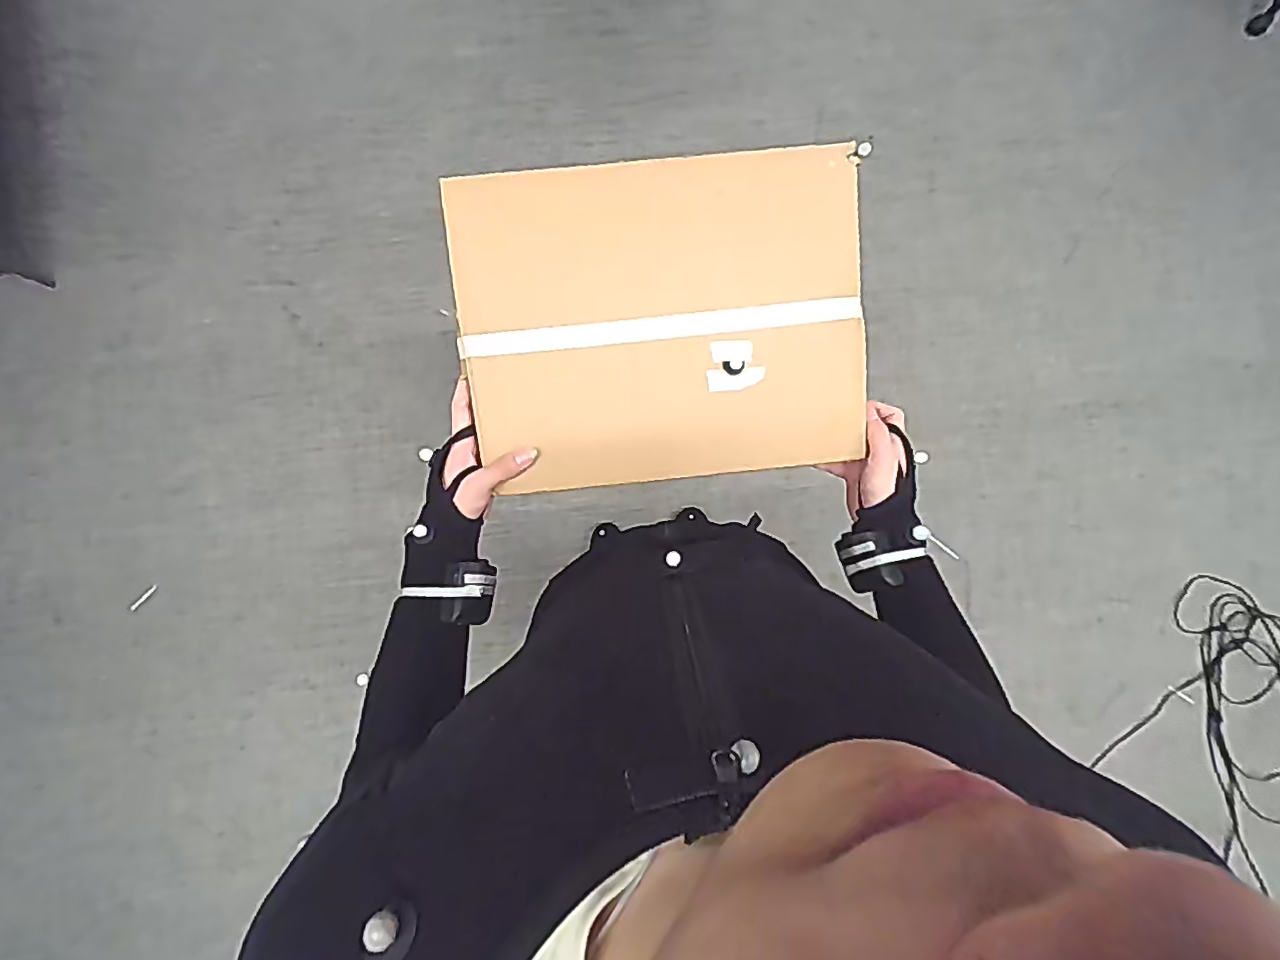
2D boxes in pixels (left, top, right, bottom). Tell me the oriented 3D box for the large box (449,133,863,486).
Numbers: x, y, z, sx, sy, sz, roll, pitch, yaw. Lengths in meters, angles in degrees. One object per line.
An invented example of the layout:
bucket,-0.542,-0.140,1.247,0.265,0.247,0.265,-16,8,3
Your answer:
large box,0.019,-0.191,0.698,0.408,0.320,0.320,-7,100,-2
